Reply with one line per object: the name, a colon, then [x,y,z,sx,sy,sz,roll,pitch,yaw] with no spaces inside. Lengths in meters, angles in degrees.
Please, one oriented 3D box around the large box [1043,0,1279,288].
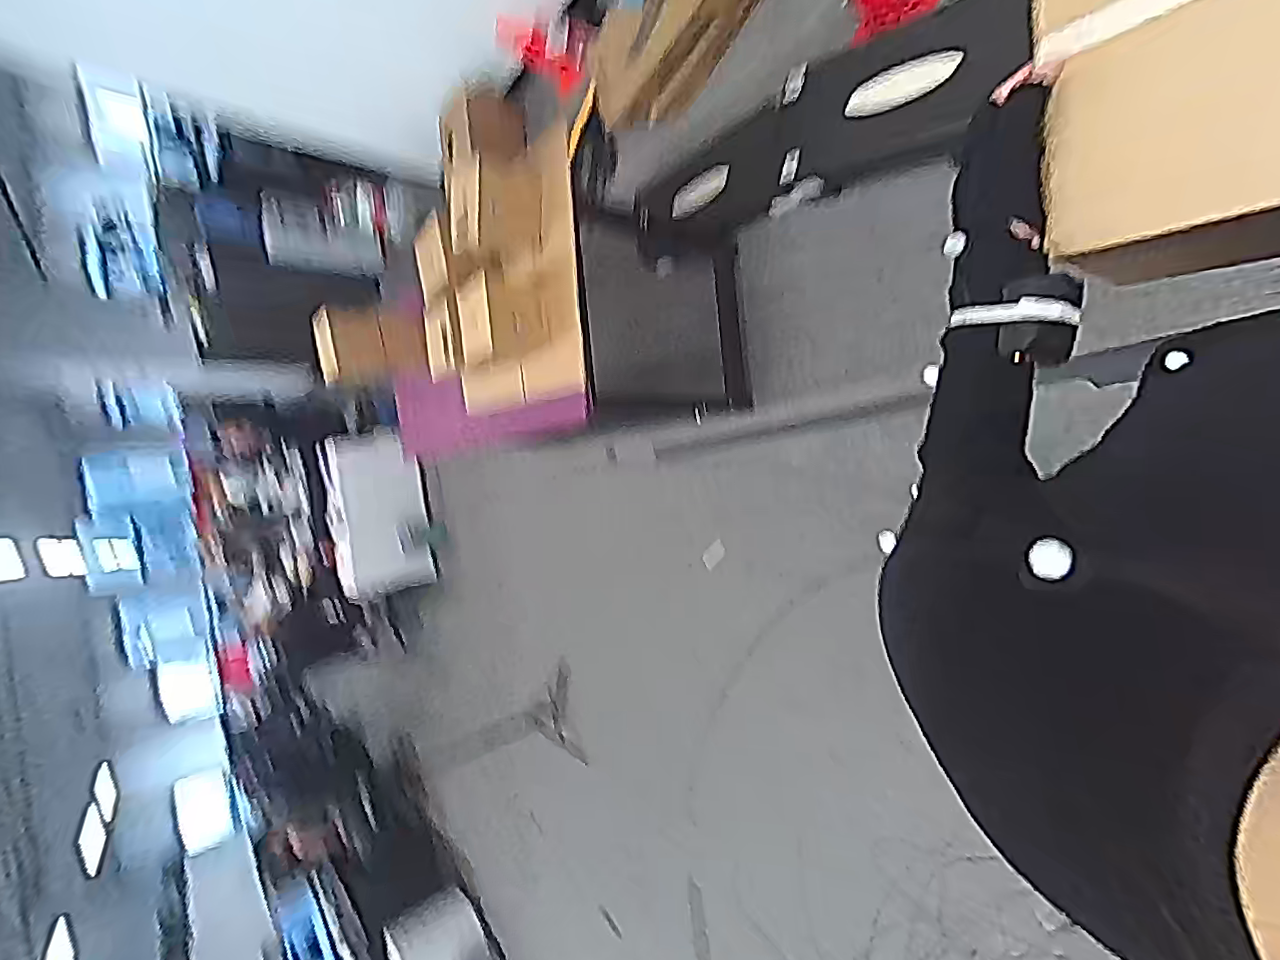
large box: [0.571,-0.356,0.389,0.408,0.320,0.320,1,100,49]
